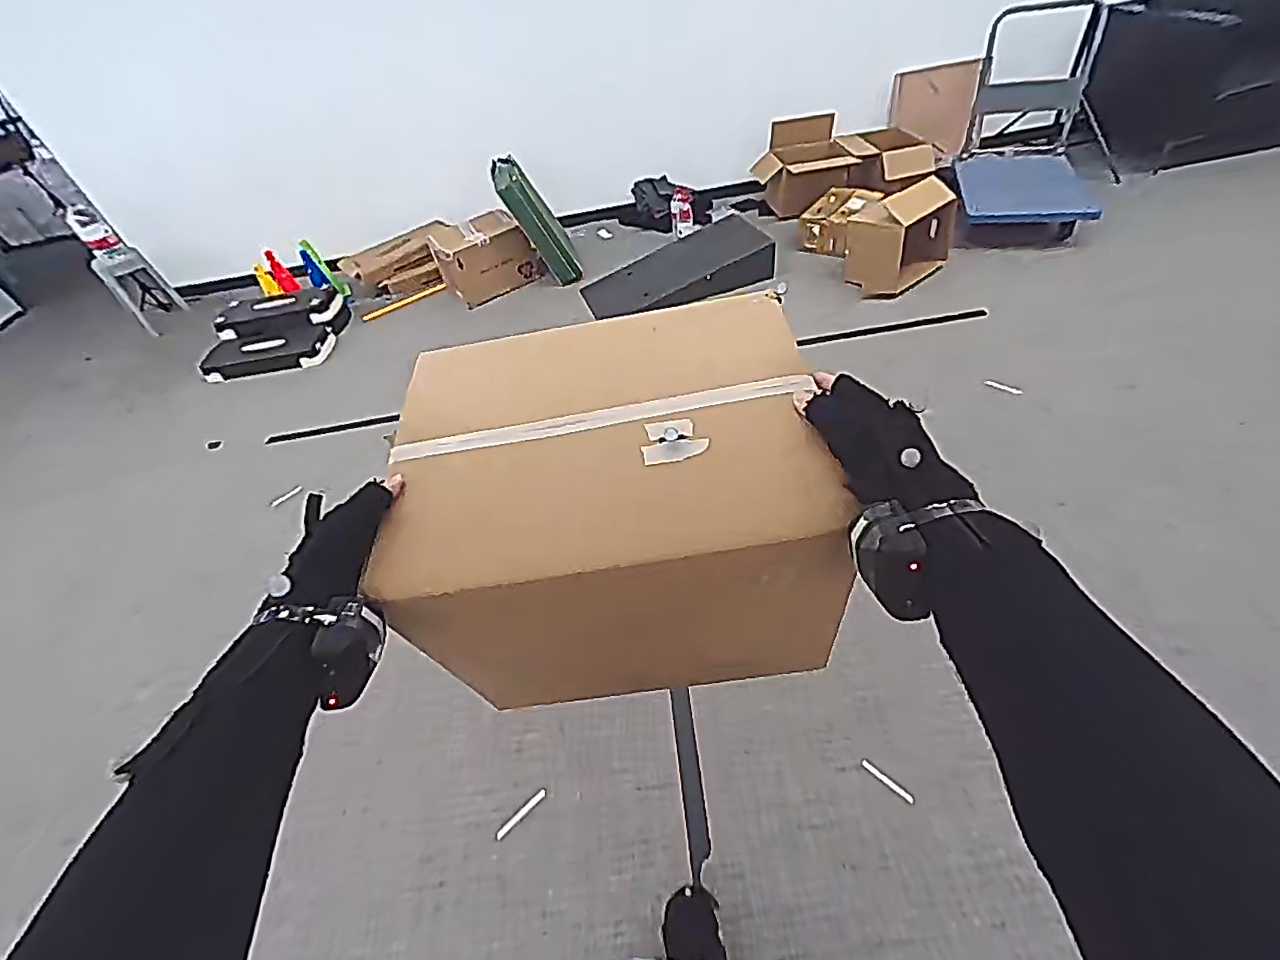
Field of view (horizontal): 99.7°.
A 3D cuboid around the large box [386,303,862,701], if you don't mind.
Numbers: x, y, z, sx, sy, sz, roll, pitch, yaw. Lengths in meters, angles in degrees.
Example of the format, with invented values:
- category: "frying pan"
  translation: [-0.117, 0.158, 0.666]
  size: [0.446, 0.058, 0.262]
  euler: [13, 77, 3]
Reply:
- category: "large box"
  translation: [-0.012, 0.039, 0.644]
  size: [0.408, 0.320, 0.320]
  euler: [-9, 52, 3]
